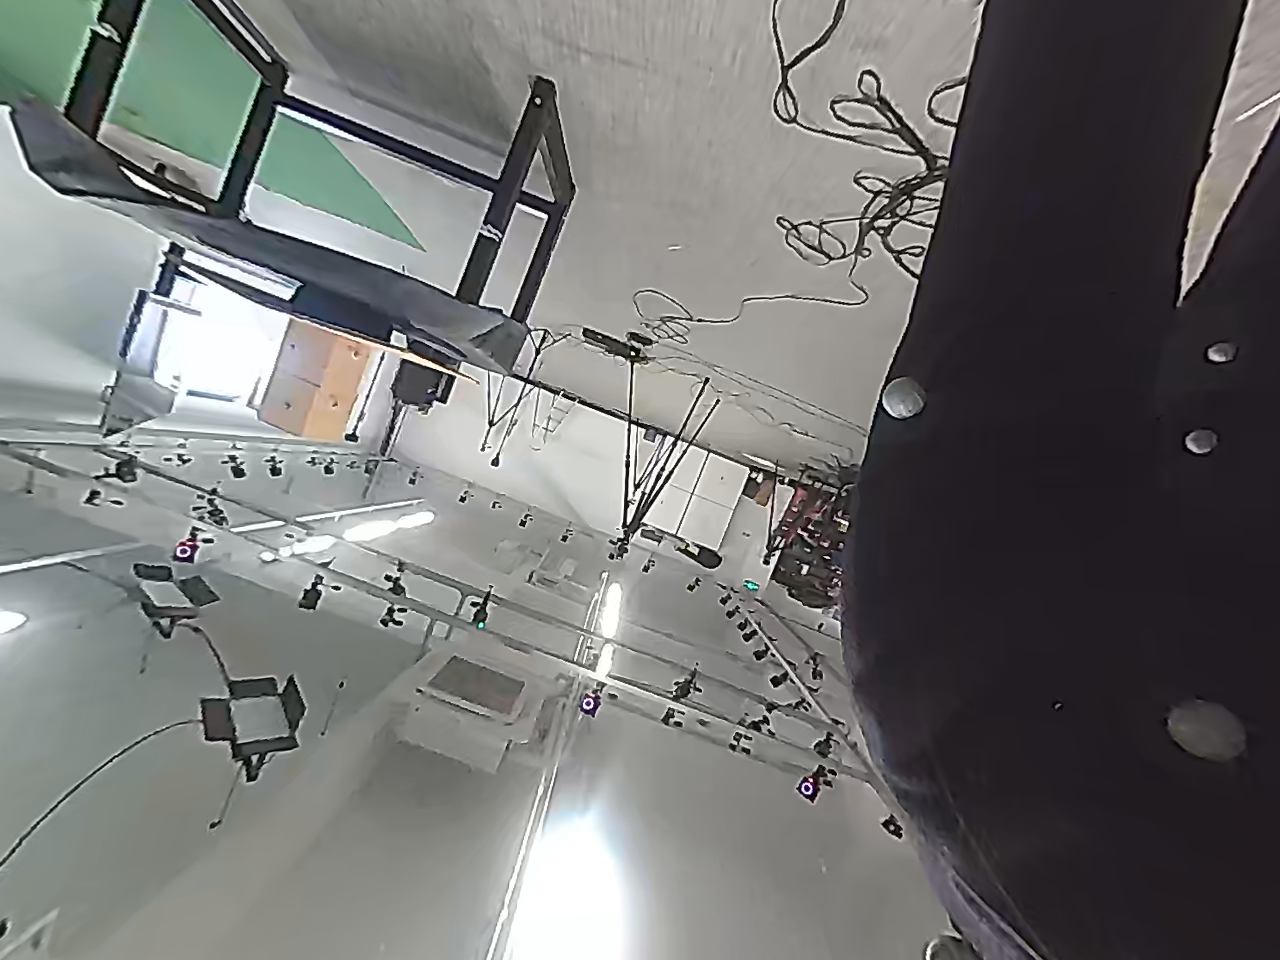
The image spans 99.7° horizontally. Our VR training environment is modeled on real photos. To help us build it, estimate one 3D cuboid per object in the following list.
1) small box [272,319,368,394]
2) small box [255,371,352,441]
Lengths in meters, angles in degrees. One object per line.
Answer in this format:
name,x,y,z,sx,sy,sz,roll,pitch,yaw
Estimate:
small box,-0.993,-0.389,1.693,0.179,0.176,0.168,21,-175,7
small box,-1.054,-0.237,1.707,0.179,0.176,0.168,22,-175,8
